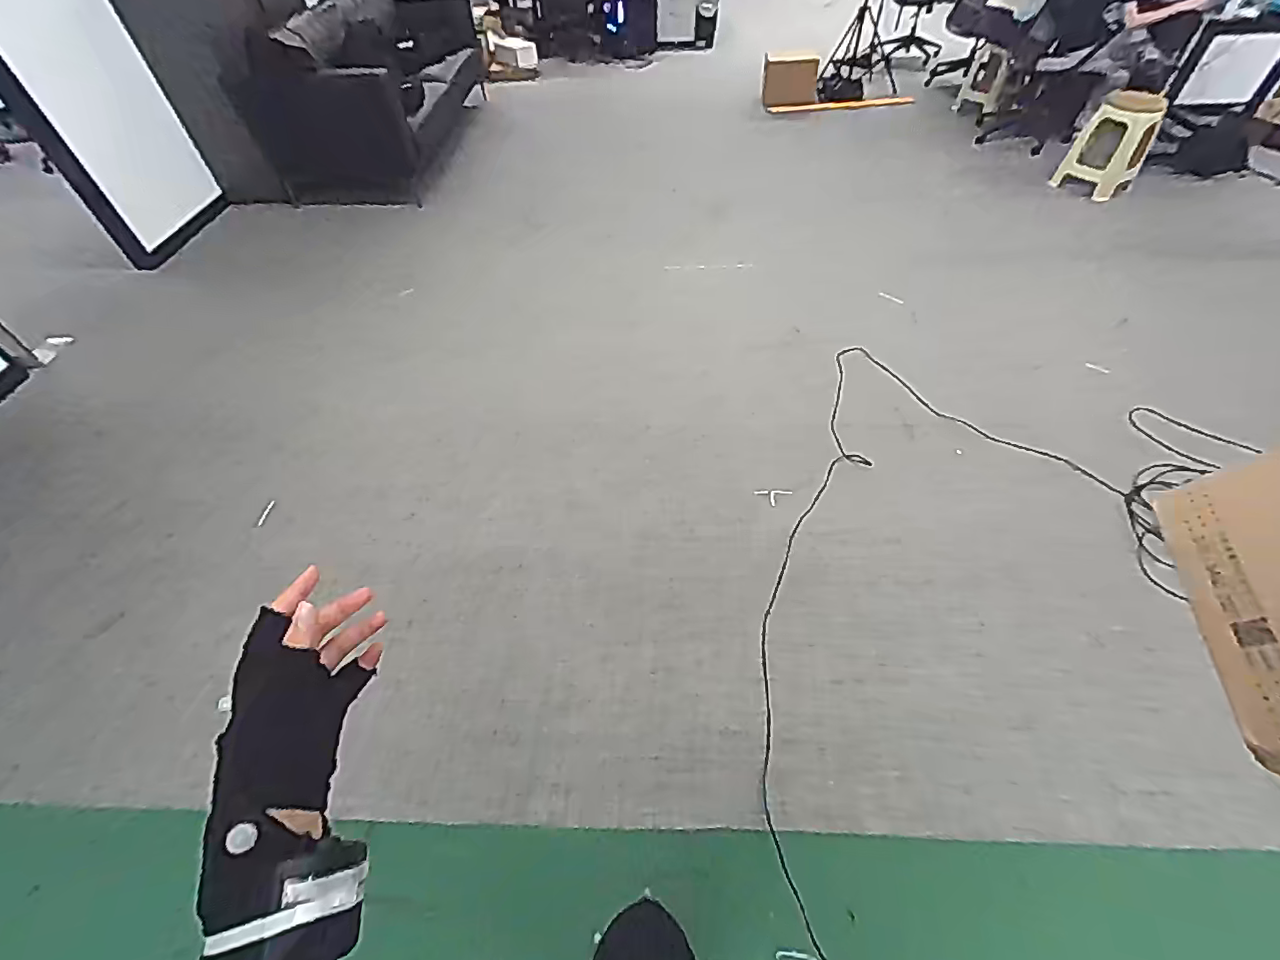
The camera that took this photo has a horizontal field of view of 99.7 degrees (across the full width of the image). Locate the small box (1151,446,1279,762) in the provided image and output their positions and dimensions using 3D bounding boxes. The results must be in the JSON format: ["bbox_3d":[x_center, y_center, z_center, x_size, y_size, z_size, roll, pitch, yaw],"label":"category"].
[{"bbox_3d":[0.413,0.068,0.259,0.179,0.176,0.168,29,51,-12],"label":"small box"}]
